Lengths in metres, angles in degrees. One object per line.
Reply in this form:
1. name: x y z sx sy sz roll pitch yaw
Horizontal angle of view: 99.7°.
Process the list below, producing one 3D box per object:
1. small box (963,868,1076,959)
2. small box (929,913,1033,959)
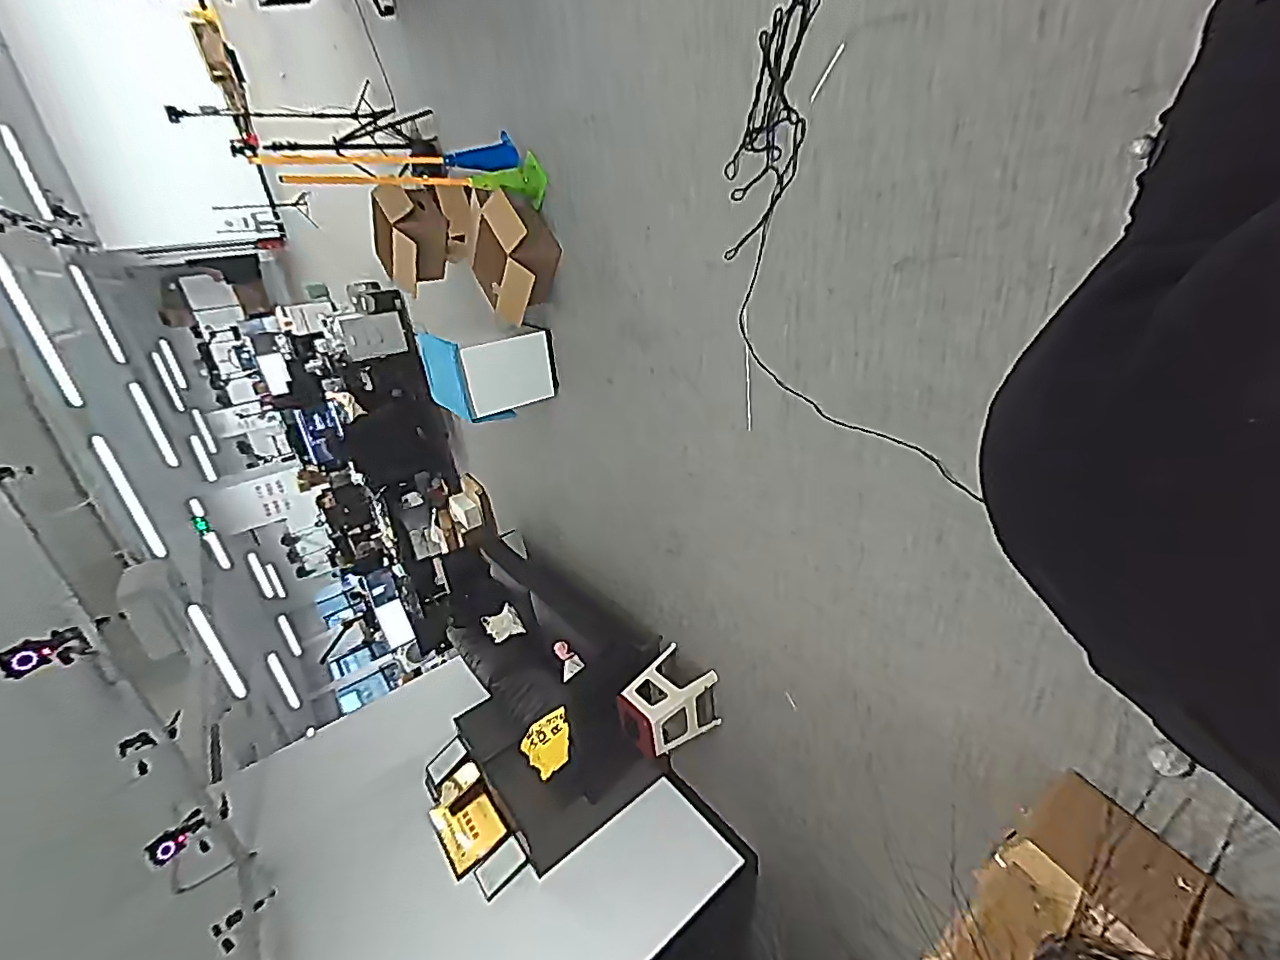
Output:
1. small box: 1.000 1.181 1.429 0.168 0.176 0.179 42 142 35
2. small box: 0.866 1.232 1.352 0.179 0.176 0.168 43 142 34
